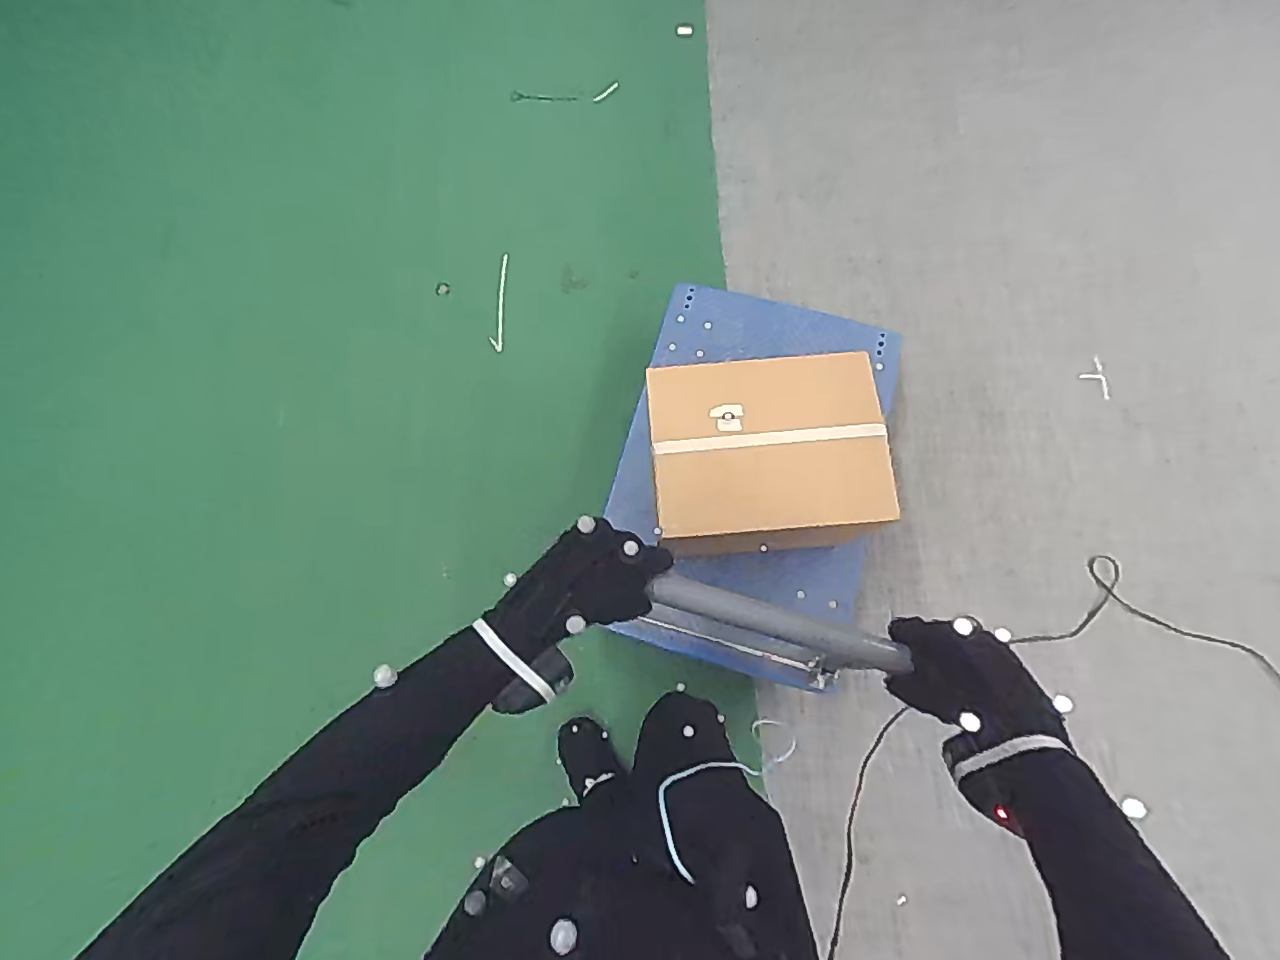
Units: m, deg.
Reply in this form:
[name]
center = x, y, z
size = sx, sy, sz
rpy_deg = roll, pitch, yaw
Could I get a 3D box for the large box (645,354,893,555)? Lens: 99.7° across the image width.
[large box]
center = 0.228, -0.030, 1.098
size = 0.408, 0.320, 0.320
rpy_deg = -5, 75, 1
